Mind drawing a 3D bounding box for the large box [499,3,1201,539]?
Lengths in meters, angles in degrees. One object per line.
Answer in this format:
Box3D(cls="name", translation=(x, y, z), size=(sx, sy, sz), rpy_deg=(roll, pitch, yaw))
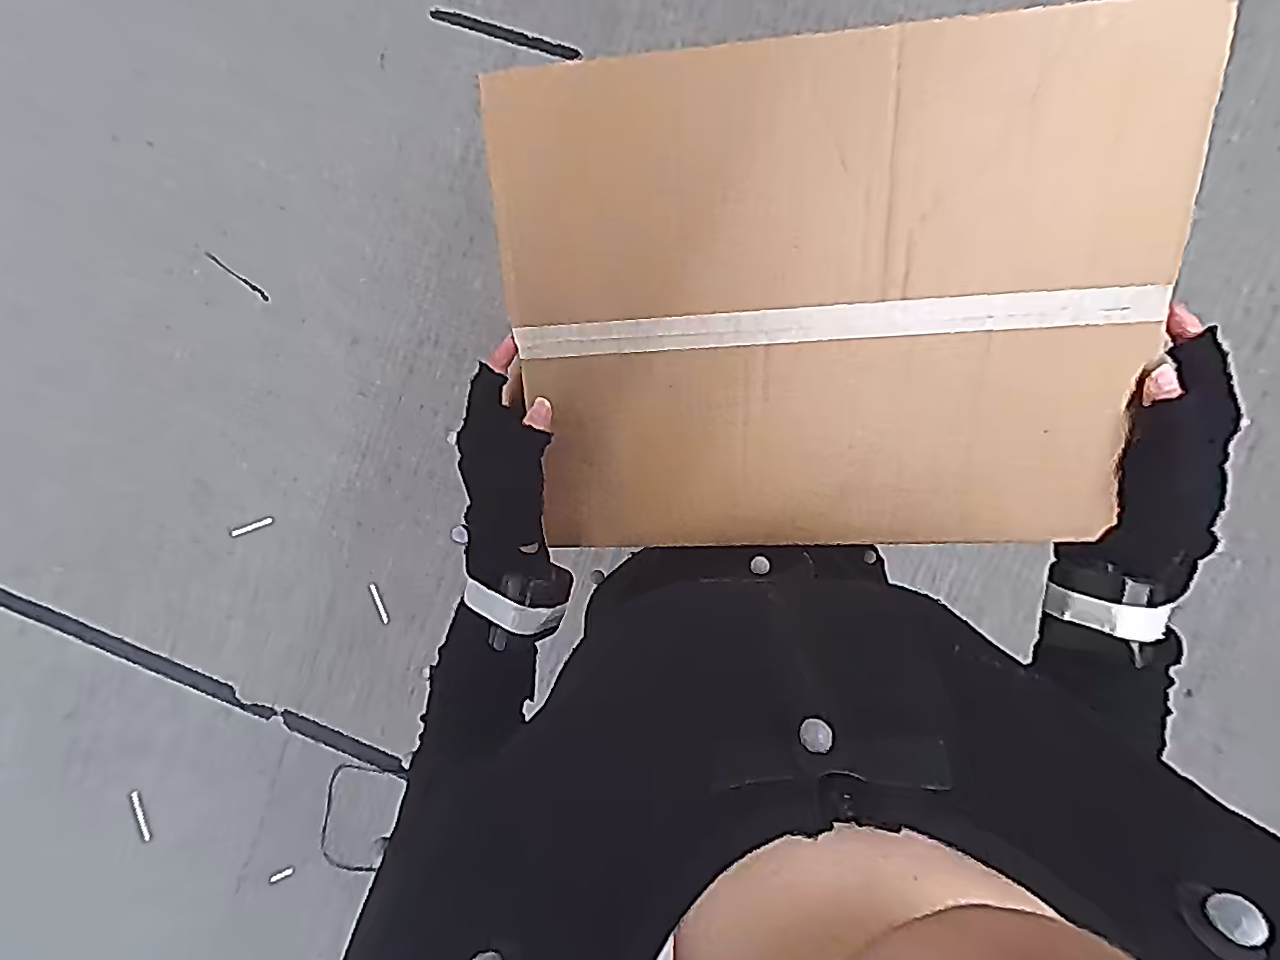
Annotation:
Box3D(cls="large box", translation=(0.131, -0.152, 0.500), size=(0.408, 0.320, 0.320), rpy_deg=(-1, 110, 6))
